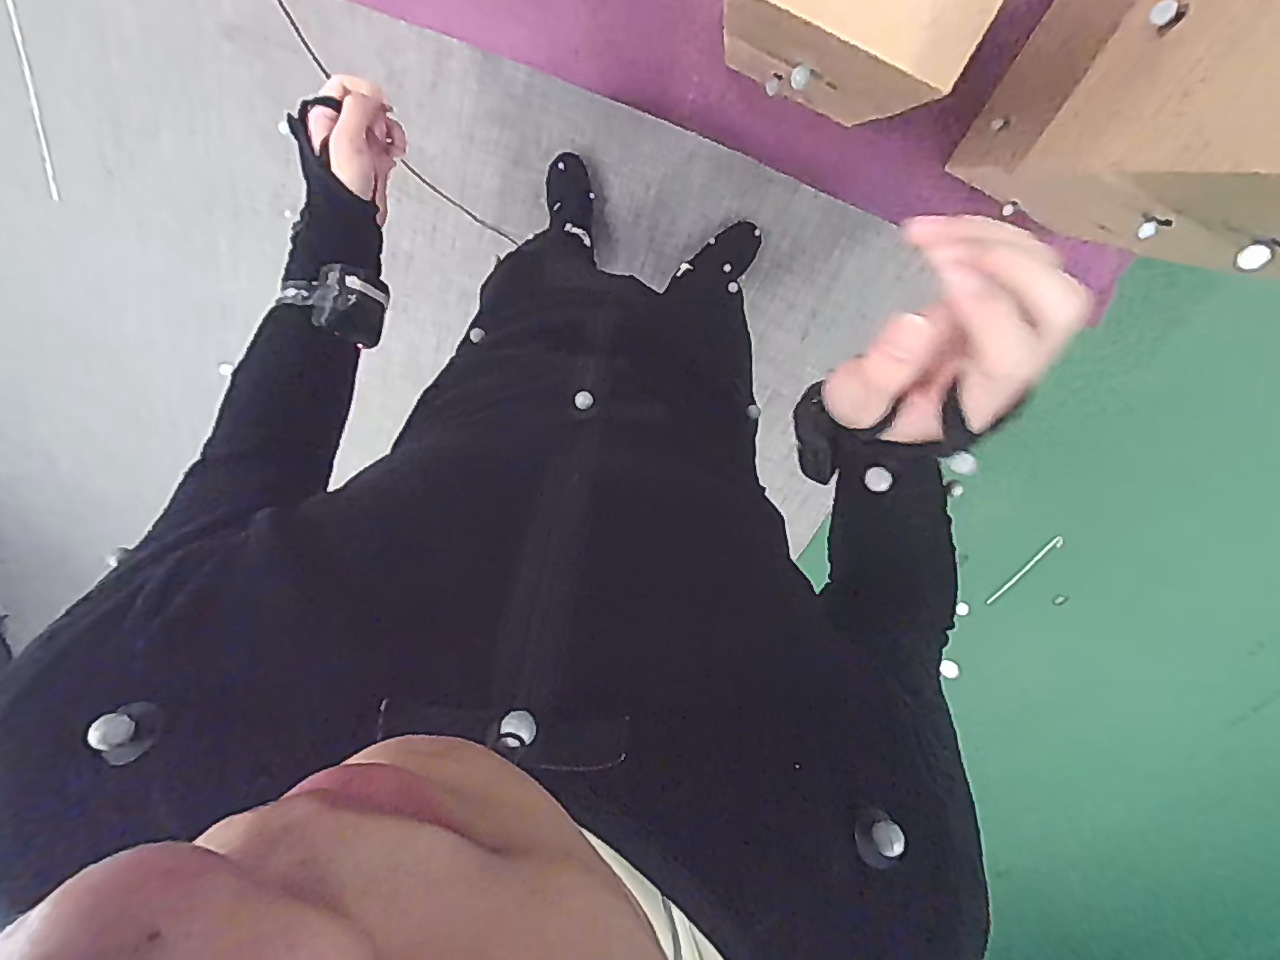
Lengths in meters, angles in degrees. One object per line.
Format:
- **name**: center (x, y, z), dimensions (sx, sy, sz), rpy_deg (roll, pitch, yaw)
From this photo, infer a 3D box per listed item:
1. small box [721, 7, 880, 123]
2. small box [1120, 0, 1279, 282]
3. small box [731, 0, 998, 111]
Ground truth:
- **small box**: center (0.191, -0.470, 0.515), dimensions (0.168, 0.176, 0.179), rpy_deg (23, 120, -4)
- **small box**: center (0.402, -0.193, 0.254), dimensions (0.168, 0.176, 0.179), rpy_deg (27, 121, -5)
- **small box**: center (0.169, -0.390, 0.374), dimensions (0.168, 0.176, 0.179), rpy_deg (24, 121, -4)
